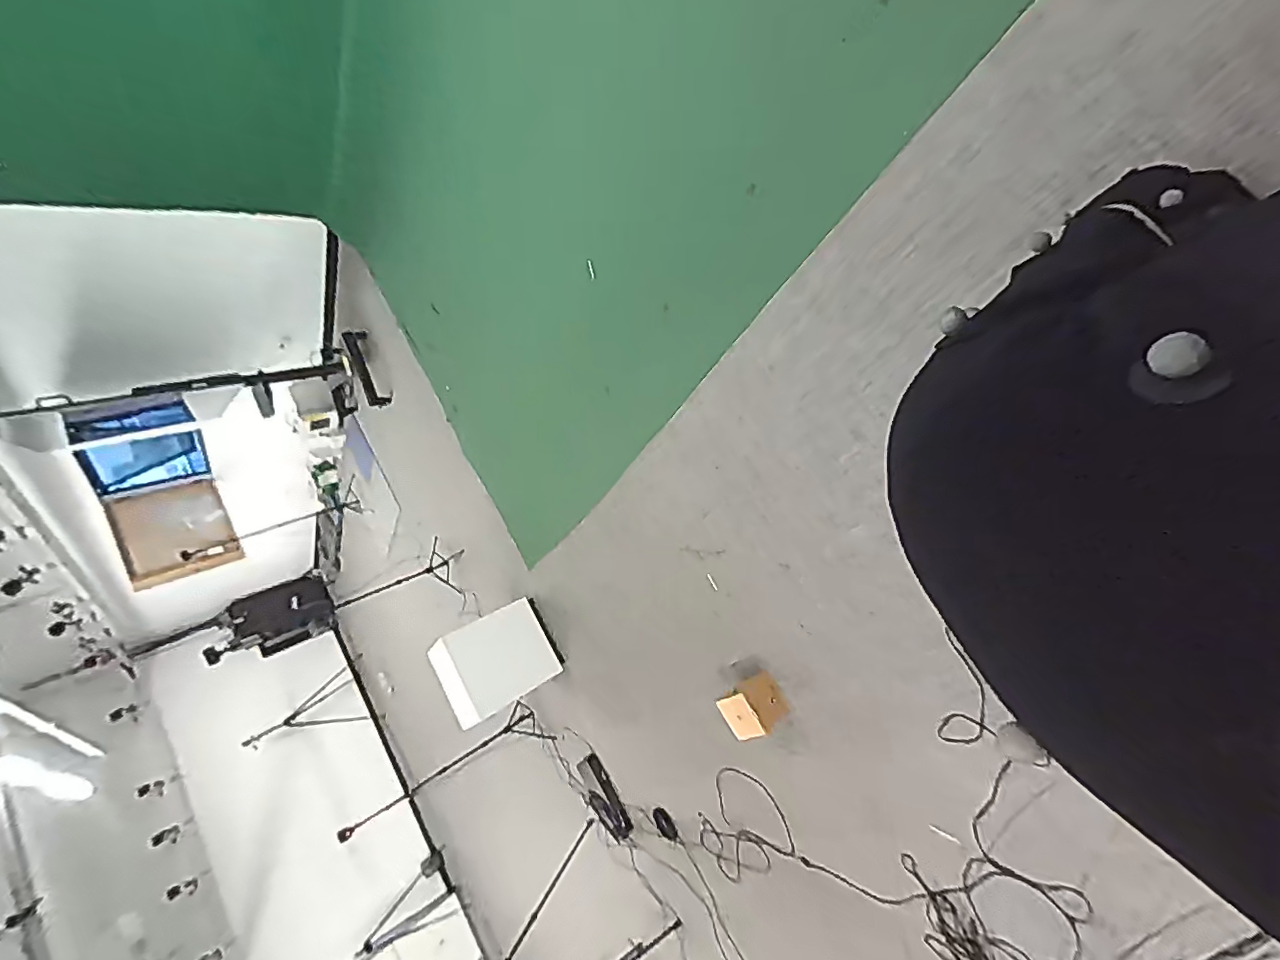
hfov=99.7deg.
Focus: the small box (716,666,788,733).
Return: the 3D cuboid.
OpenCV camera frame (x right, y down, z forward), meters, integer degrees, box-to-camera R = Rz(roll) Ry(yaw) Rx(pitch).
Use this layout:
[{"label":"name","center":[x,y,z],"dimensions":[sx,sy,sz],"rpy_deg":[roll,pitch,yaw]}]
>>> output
[{"label":"small box","center":[0.437,0.846,2.090],"dimensions":[0.168,0.176,0.179],"rpy_deg":[58,139,13]}]
